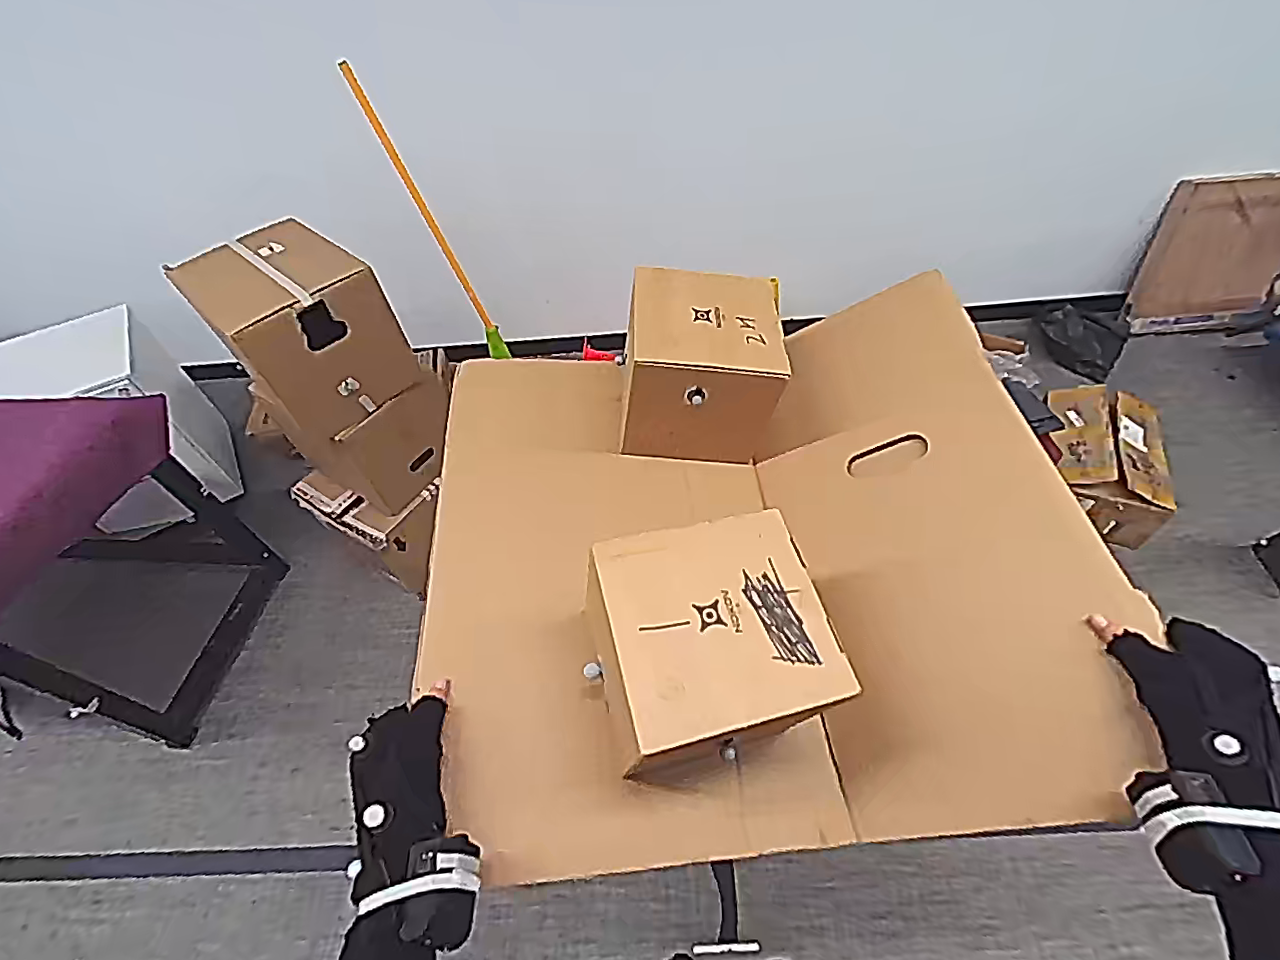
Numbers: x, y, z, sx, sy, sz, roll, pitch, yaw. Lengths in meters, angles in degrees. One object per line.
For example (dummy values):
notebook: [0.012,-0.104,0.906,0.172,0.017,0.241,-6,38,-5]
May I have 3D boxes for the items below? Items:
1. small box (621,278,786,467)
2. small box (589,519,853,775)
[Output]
small box: [0.069,-0.131,0.696,0.179,0.176,0.168,5,56,-5]
small box: [0.054,0.158,0.501,0.179,0.176,0.168,-9,59,-13]
